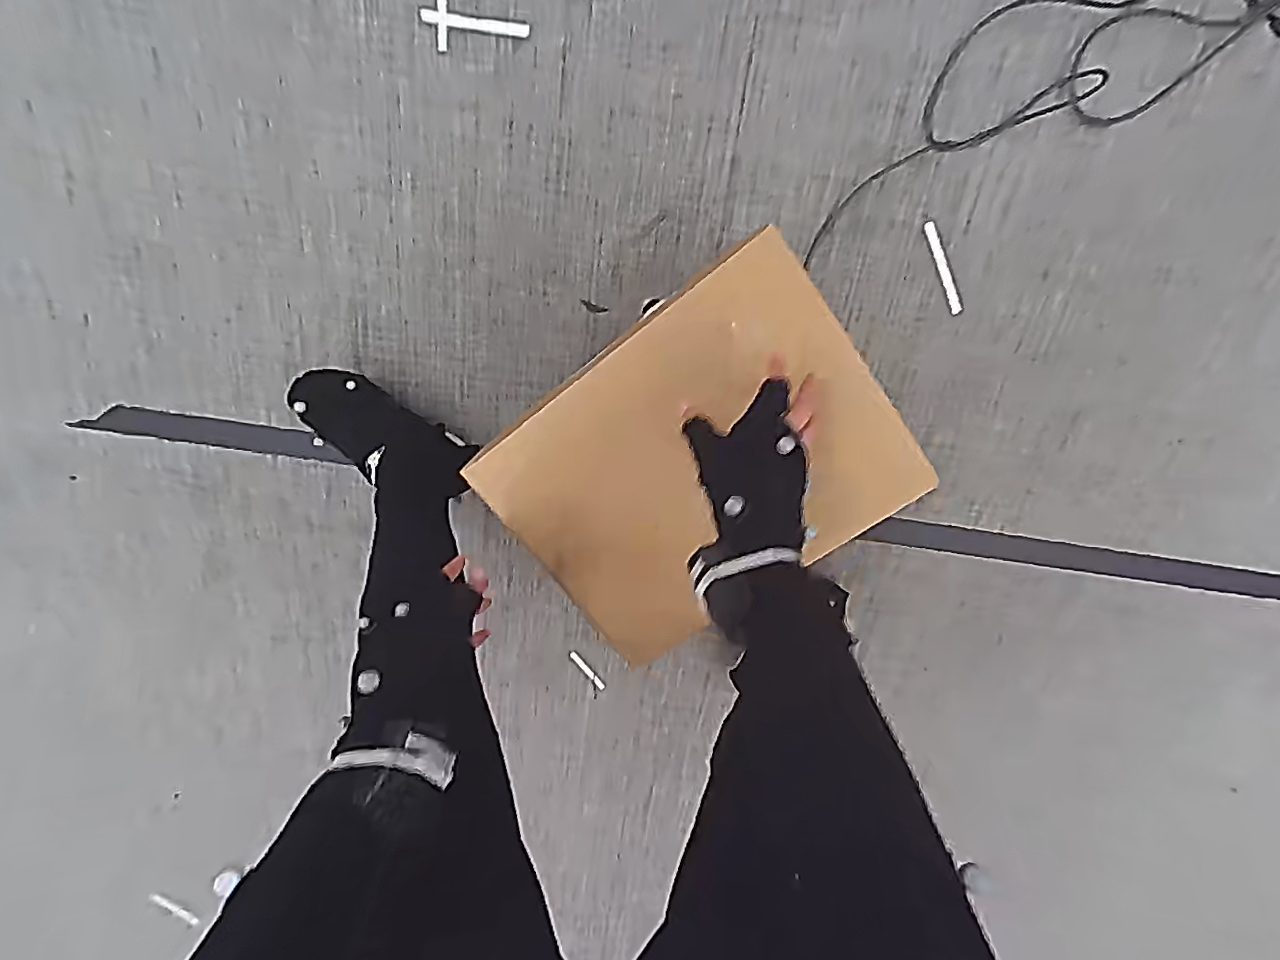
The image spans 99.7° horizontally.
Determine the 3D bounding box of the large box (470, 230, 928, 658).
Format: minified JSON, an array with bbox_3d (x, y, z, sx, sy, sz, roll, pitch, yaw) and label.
[{"bbox_3d":[0.070,-0.046,0.717,0.408,0.320,0.320,-35,100,15],"label":"large box"}]
